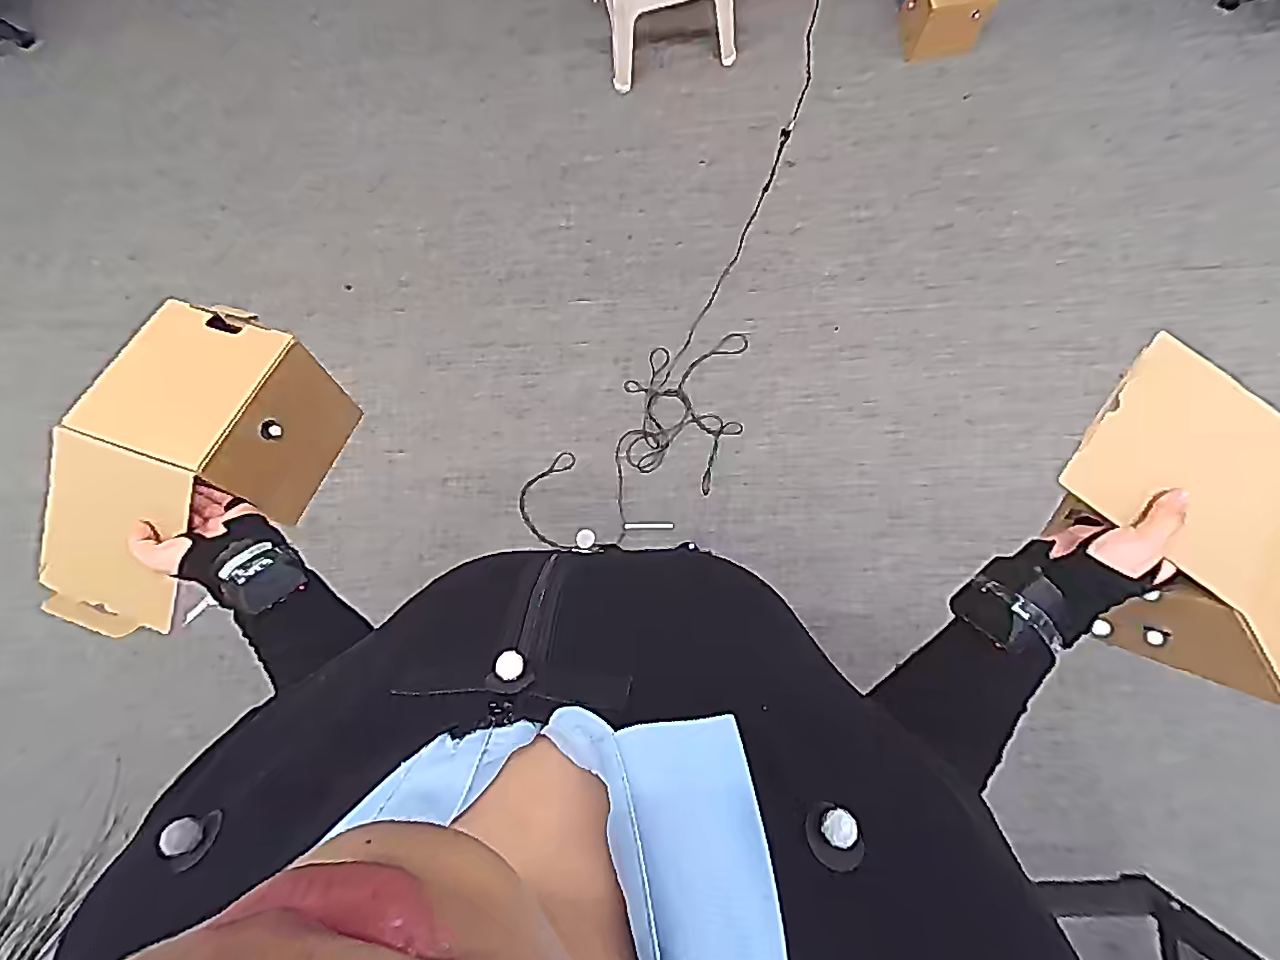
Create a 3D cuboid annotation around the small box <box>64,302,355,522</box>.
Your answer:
[{"bbox_3d":[-0.478,-0.070,0.638,0.168,0.176,0.179,18,66,7],"label":"small box"}]
